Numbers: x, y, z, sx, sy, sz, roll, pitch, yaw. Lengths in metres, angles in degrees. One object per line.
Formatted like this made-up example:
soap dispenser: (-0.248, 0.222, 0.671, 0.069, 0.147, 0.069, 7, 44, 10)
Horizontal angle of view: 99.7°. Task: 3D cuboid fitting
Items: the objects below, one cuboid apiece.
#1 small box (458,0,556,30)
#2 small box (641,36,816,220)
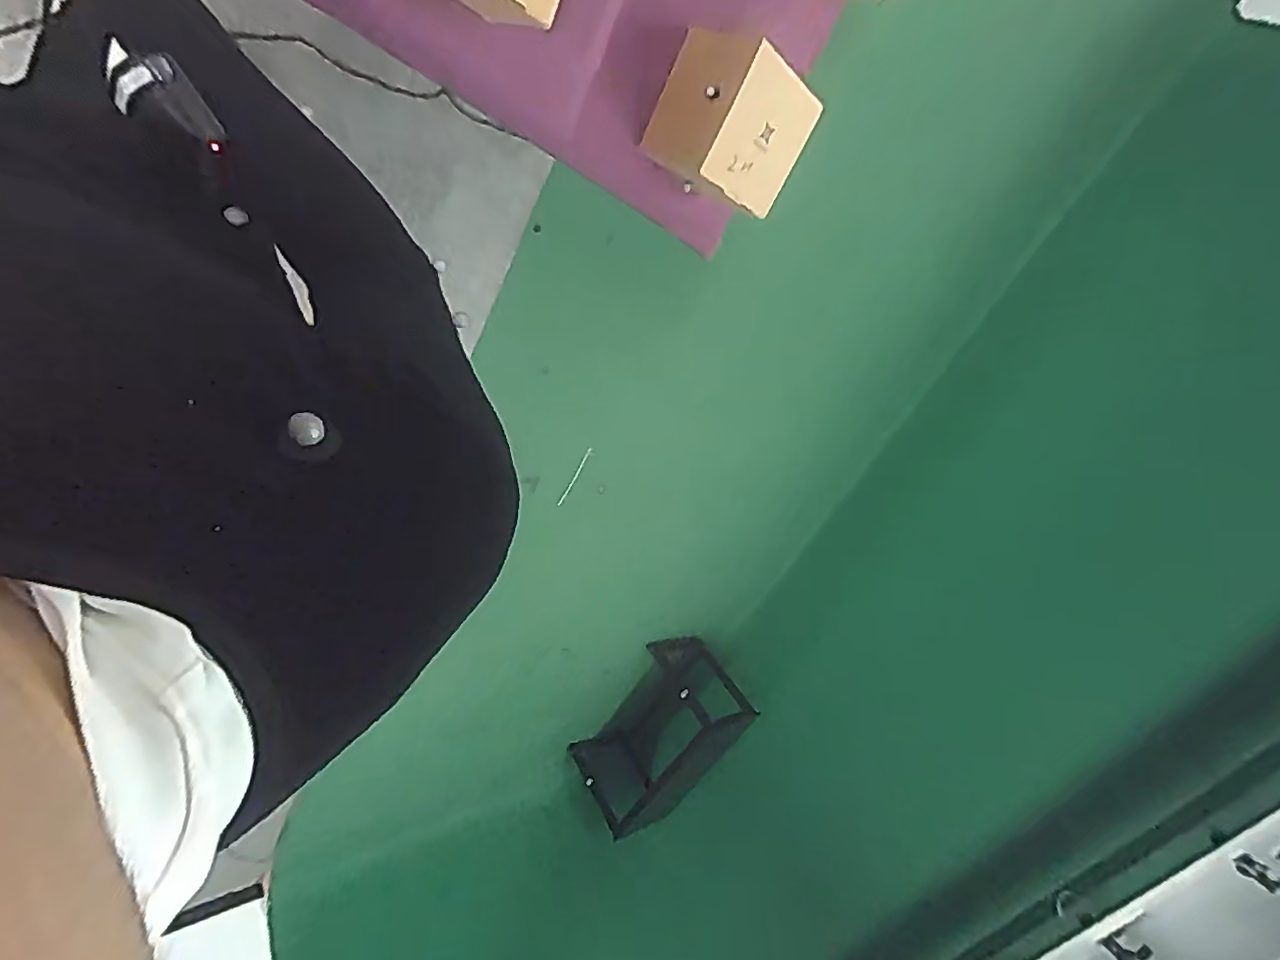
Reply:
small box: (-0.165, -0.597, 0.530, 0.168, 0.176, 0.179, 3, 125, -45)
small box: (0.129, -0.546, 0.842, 0.168, 0.176, 0.179, 8, 121, -44)
